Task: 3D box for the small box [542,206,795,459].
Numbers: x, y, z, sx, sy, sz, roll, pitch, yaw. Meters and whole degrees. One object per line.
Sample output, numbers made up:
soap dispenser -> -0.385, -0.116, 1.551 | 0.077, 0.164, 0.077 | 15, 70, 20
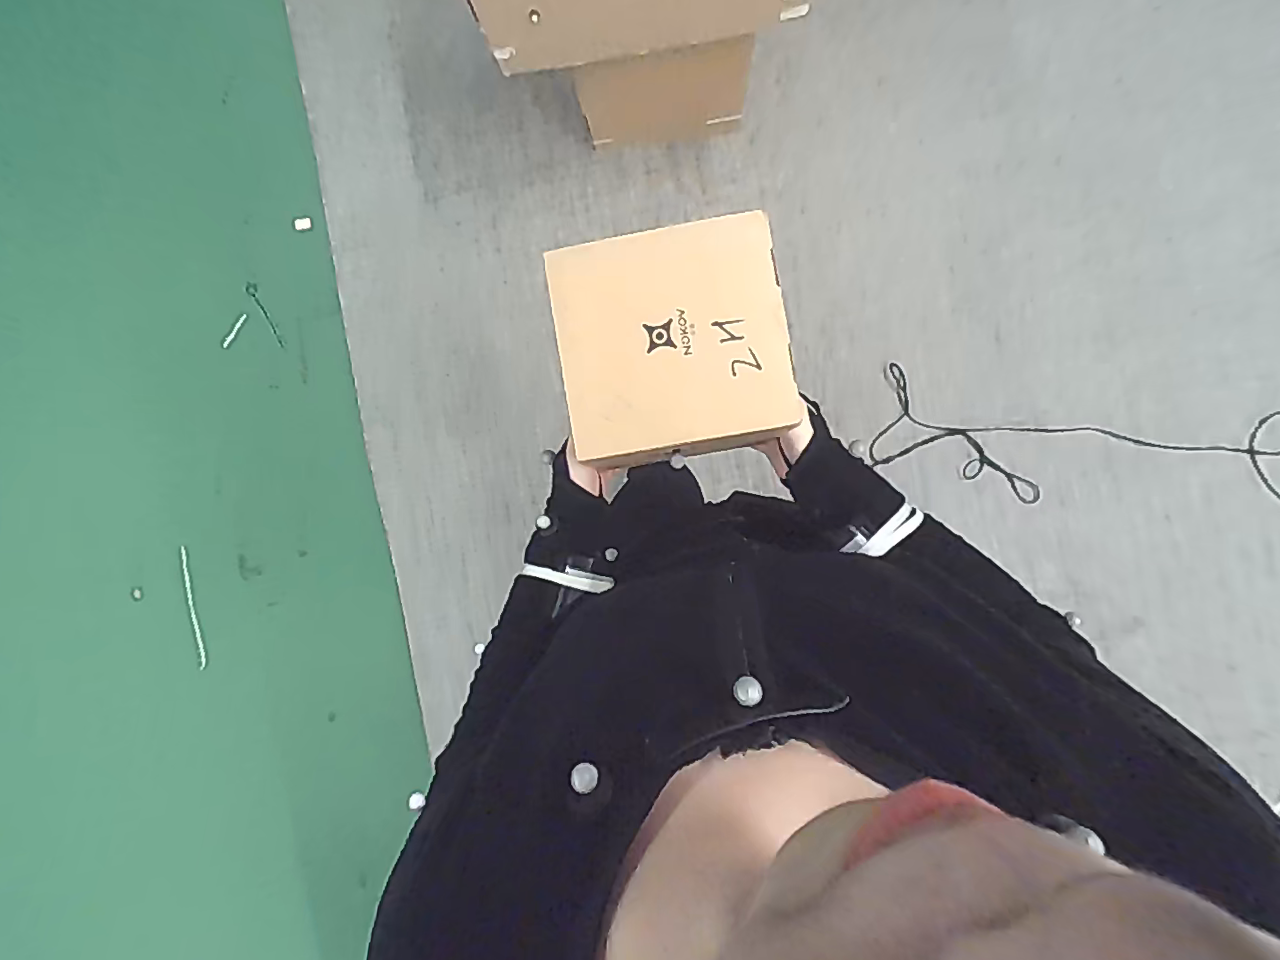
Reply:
small box -> 0.025, -0.114, 0.491 | 0.179, 0.176, 0.168 | -9, 89, 3
